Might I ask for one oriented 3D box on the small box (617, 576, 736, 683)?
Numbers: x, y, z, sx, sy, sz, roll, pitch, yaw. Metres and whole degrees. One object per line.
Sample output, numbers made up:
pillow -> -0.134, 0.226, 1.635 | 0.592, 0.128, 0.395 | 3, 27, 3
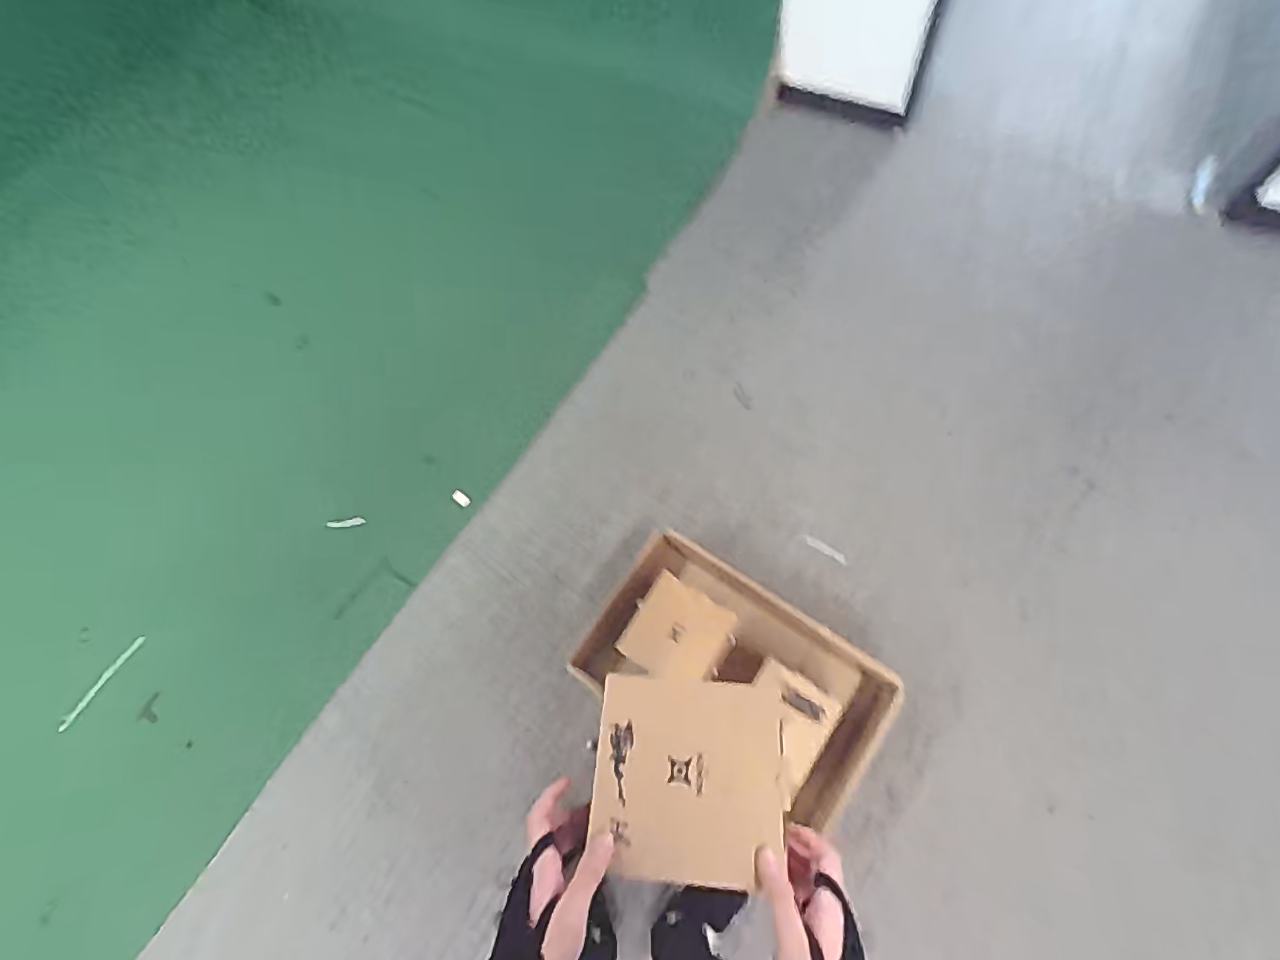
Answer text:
small box -> 0.080, 0.322, 1.084 | 0.168, 0.176, 0.179 | 31, 76, 18

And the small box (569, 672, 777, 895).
small box -> 0.033, 0.308, 0.557 | 0.179, 0.176, 0.168 | 4, 57, 3
